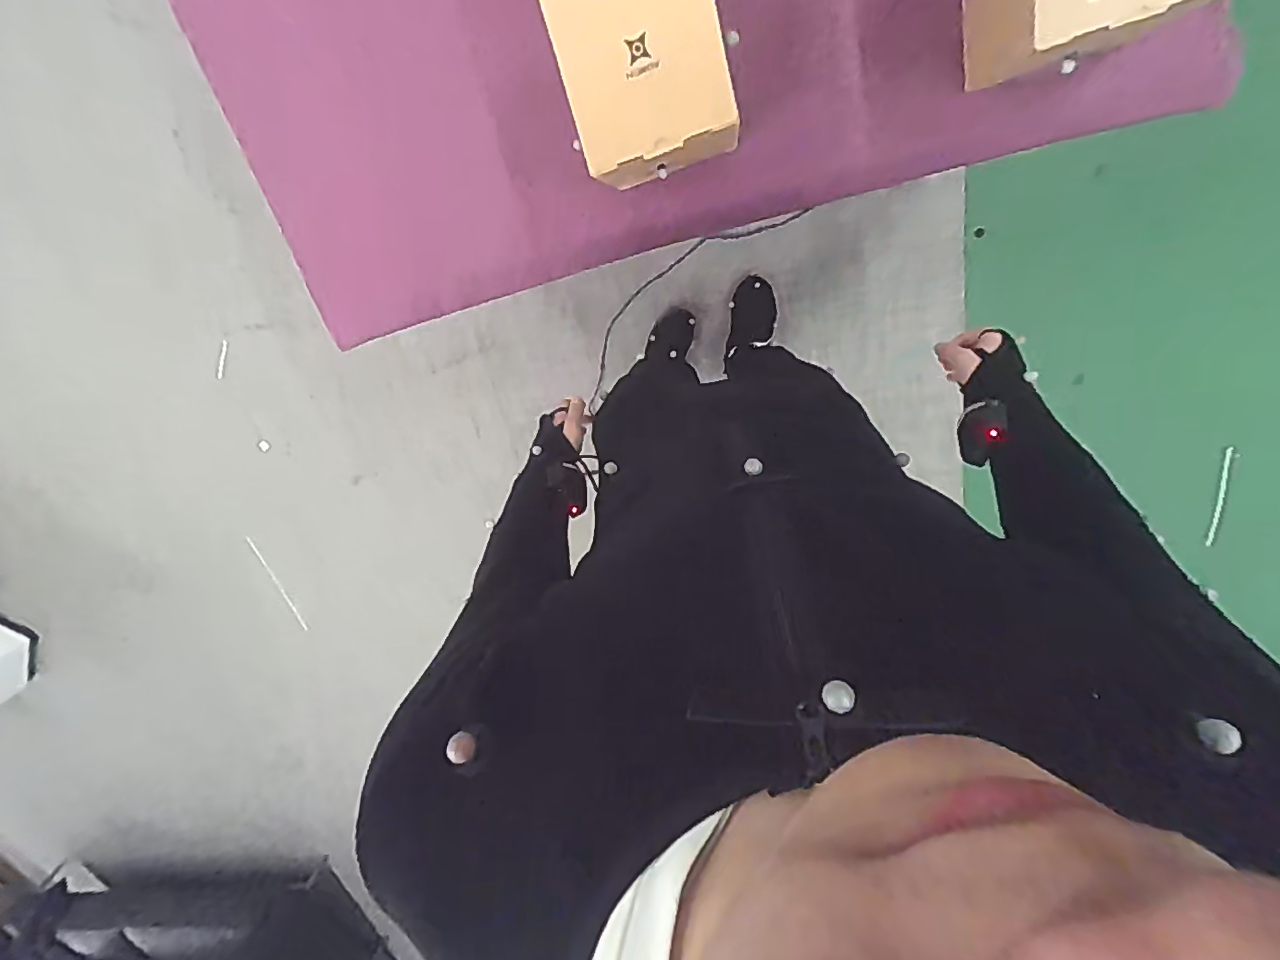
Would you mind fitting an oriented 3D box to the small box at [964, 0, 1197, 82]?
[{"bbox_3d":[0.427,-0.523,0.515,0.168,0.176,0.179,-10,113,15],"label":"small box"}]

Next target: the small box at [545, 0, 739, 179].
[{"bbox_3d":[0.010,-0.465,0.611,0.168,0.176,0.179,-13,112,14],"label":"small box"}]
